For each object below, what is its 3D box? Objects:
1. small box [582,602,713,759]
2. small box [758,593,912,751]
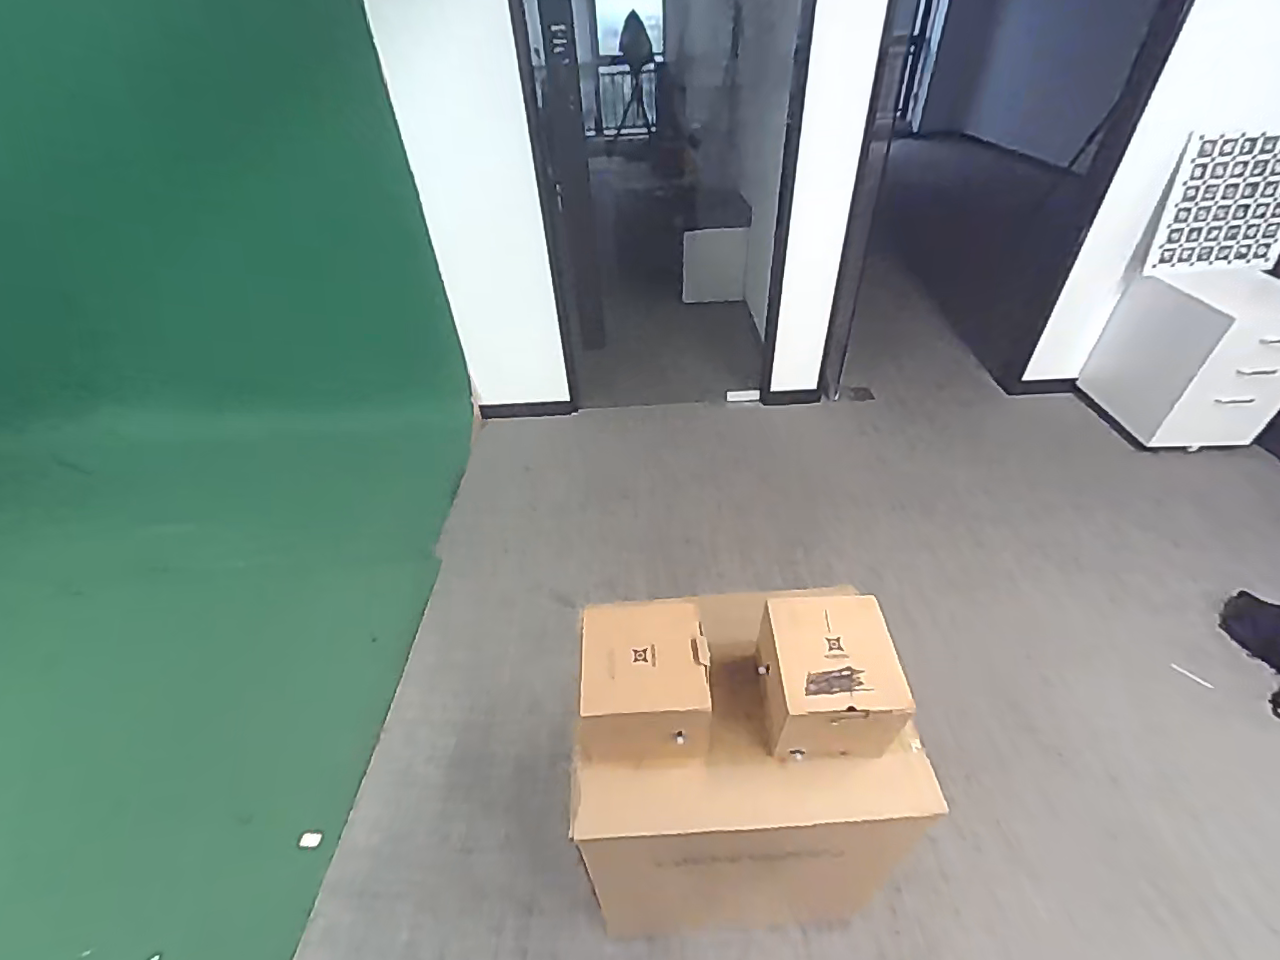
[{"bbox_3d":[0.012,0.307,0.825,0.179,0.176,0.168,-5,43,1],"label":"small box"},{"bbox_3d":[0.277,0.292,0.813,0.168,0.176,0.179,-2,44,2],"label":"small box"}]
